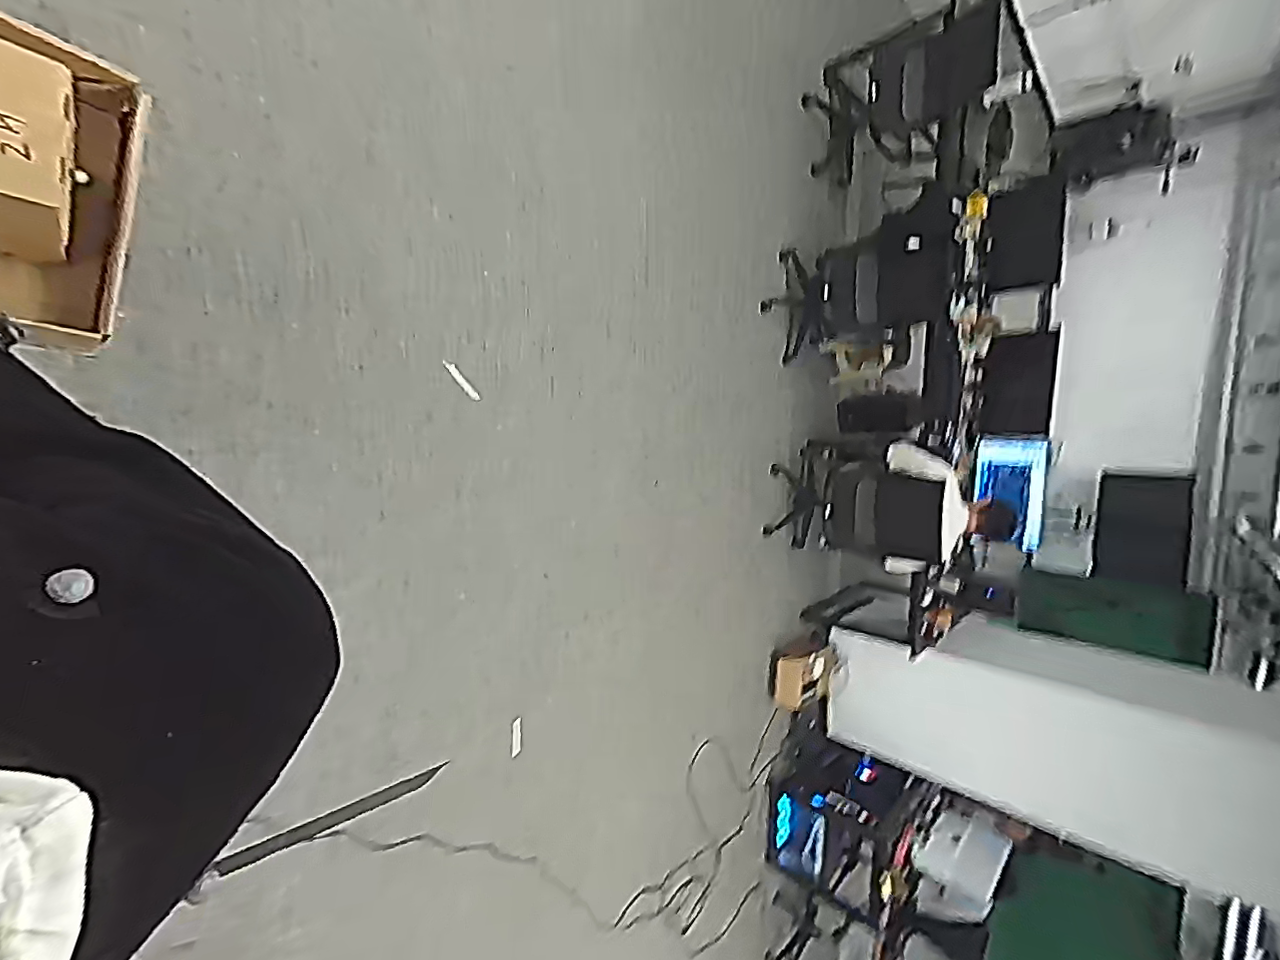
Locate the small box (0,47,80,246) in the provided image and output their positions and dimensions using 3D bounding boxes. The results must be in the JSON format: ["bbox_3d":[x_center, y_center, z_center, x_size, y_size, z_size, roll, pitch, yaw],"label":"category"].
[{"bbox_3d":[-0.771,-0.389,0.613,0.179,0.176,0.168,5,90,-45],"label":"small box"}]
